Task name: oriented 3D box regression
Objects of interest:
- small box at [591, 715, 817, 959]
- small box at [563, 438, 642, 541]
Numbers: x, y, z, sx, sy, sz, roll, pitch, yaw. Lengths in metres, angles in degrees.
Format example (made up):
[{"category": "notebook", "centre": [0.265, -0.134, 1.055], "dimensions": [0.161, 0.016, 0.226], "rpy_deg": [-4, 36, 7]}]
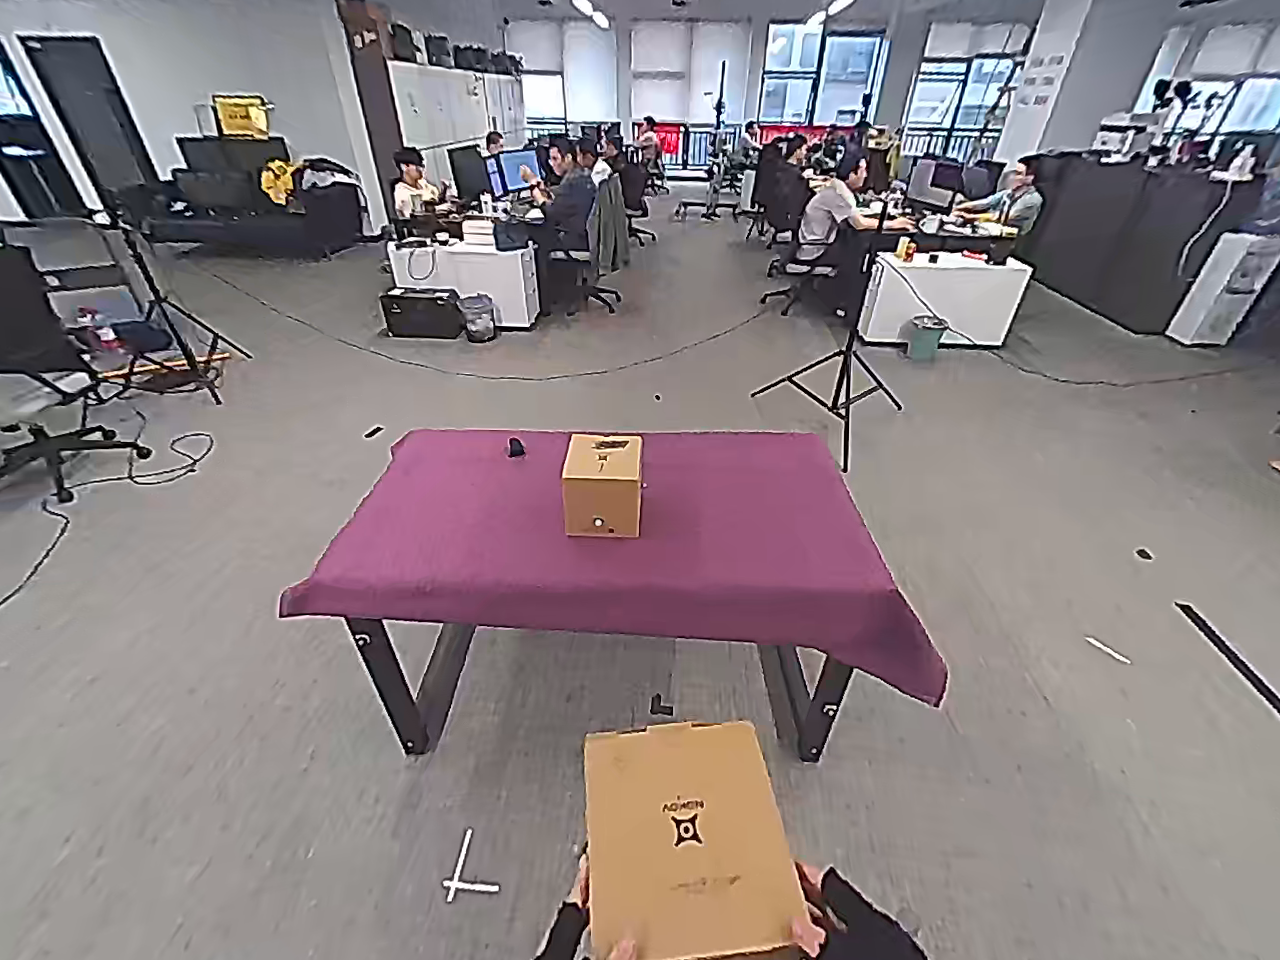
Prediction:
[{"category": "small box", "centre": [0.038, 0.348, 0.500], "dimensions": [0.168, 0.176, 0.179], "rpy_deg": [-2, 36, -6]}, {"category": "small box", "centre": [-0.081, 0.020, 1.254], "dimensions": [0.168, 0.176, 0.179], "rpy_deg": [1, 35, 1]}]
